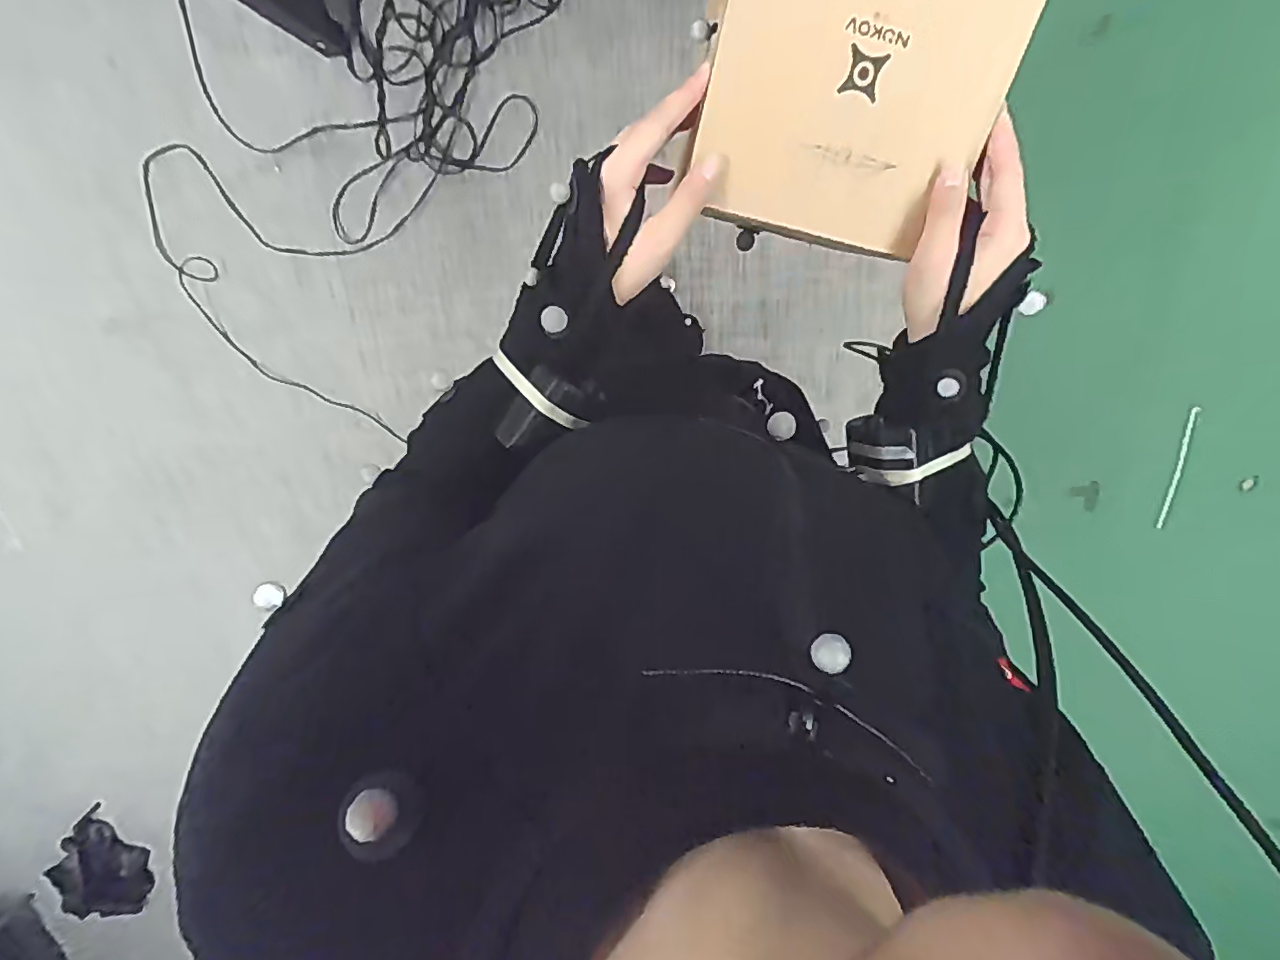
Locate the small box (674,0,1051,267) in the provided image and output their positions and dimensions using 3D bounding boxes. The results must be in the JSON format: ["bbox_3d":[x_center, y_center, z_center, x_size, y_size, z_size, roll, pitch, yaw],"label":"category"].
[{"bbox_3d":[0.121,-0.258,0.362,0.168,0.176,0.179,11,116,-5],"label":"small box"}]
